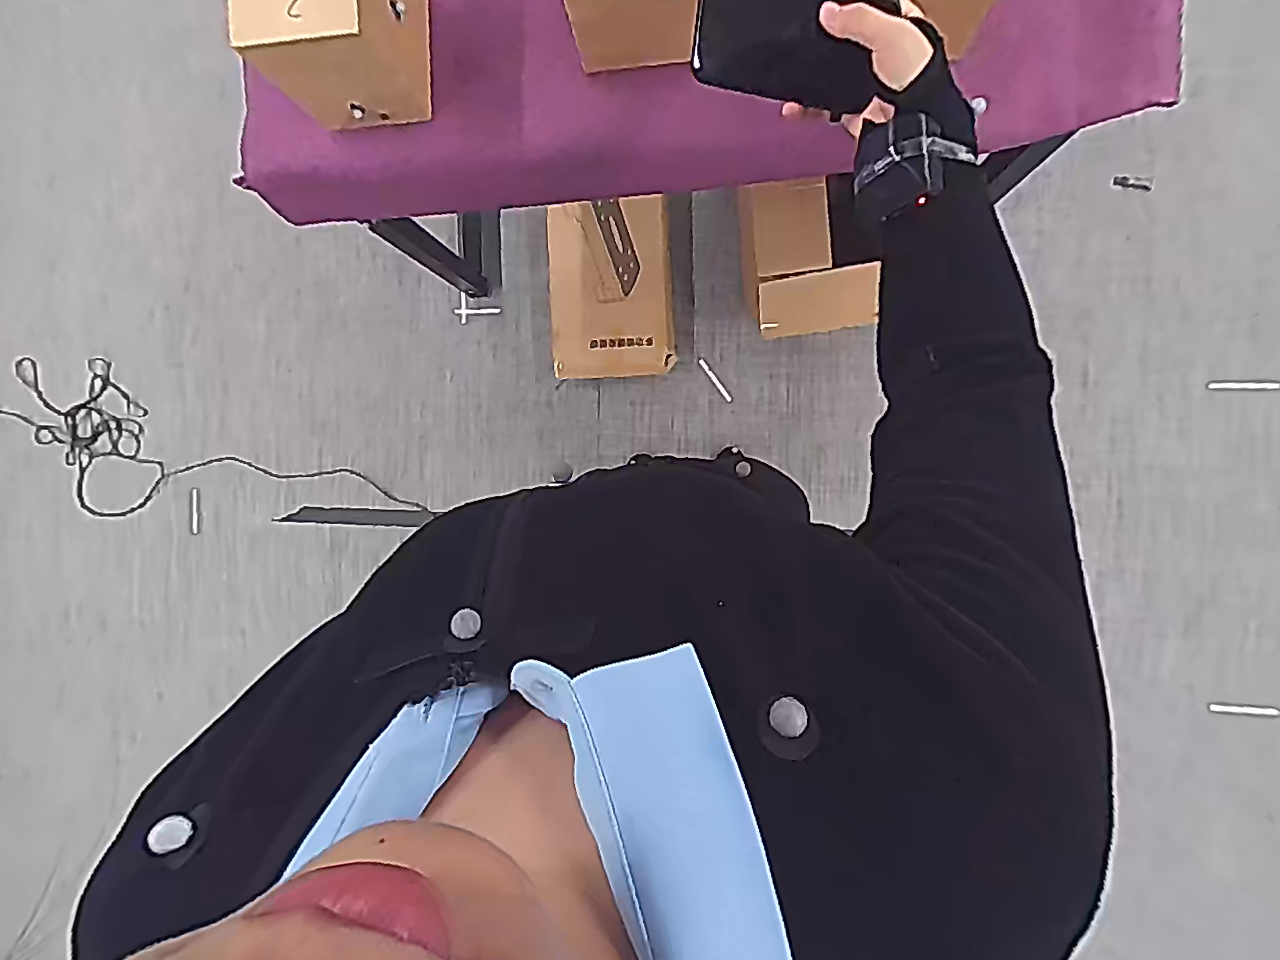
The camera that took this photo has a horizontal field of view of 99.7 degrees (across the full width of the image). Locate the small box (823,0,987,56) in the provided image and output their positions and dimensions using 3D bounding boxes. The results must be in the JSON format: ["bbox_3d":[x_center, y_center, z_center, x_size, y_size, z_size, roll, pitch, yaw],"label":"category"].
[{"bbox_3d":[0.316,-0.621,0.610,0.179,0.176,0.168,6,93,6],"label":"small box"}]

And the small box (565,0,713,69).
[{"bbox_3d":[0.000,-0.638,0.646,0.179,0.176,0.168,-1,90,7],"label":"small box"}]
